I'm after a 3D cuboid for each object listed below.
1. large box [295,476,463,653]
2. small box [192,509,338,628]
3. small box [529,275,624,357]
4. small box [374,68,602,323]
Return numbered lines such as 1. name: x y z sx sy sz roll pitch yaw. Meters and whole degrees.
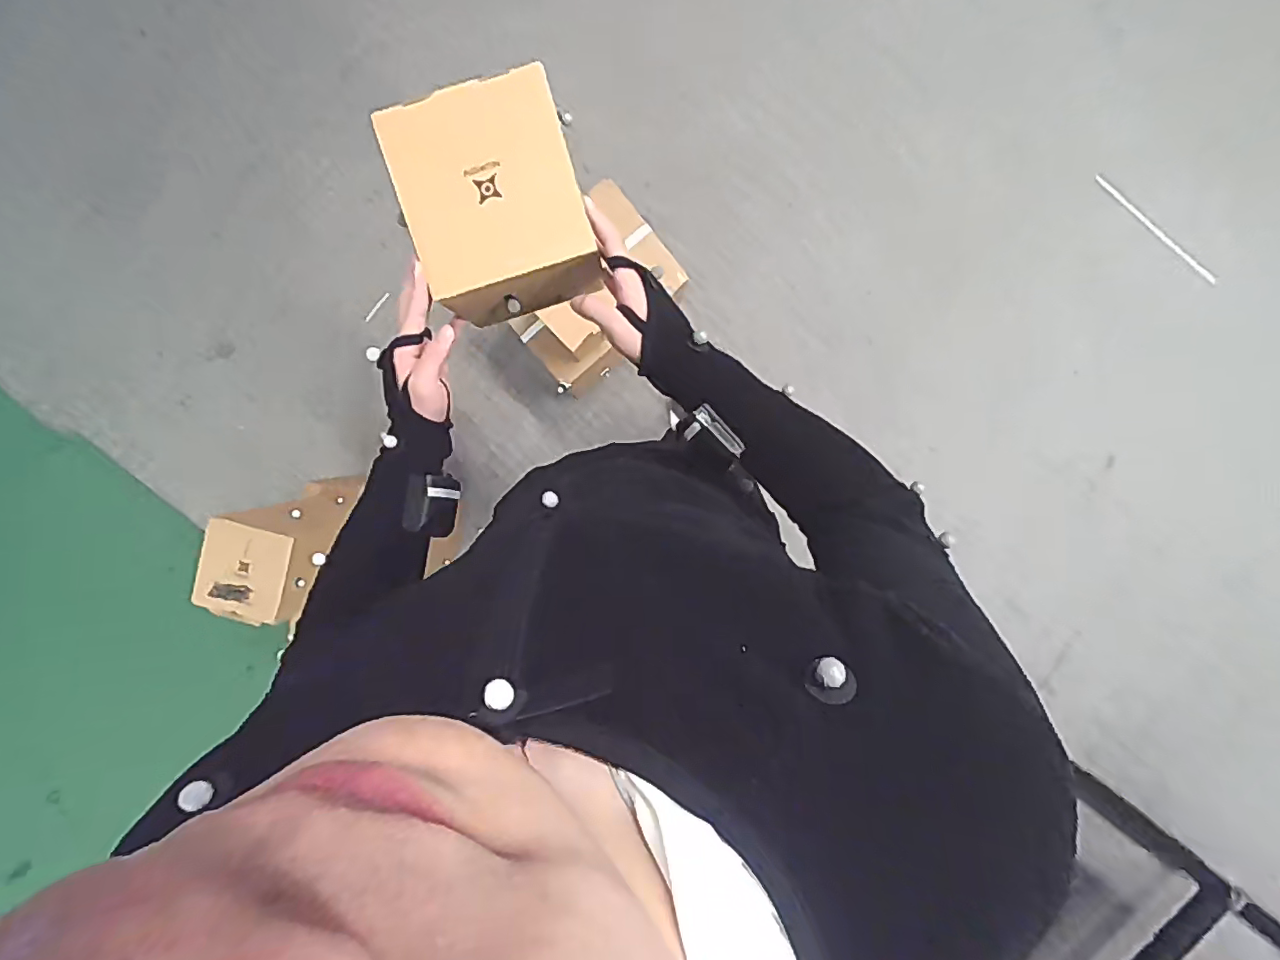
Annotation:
1. large box: -0.704 0.213 1.503 0.320 0.320 0.408 8 95 0
2. small box: -0.742 0.169 1.088 0.168 0.176 0.179 15 94 -1
3. small box: -0.150 -0.391 1.207 0.168 0.176 0.179 -44 95 3
4. small box: -0.143 -0.279 0.579 0.168 0.176 0.179 -17 96 0
